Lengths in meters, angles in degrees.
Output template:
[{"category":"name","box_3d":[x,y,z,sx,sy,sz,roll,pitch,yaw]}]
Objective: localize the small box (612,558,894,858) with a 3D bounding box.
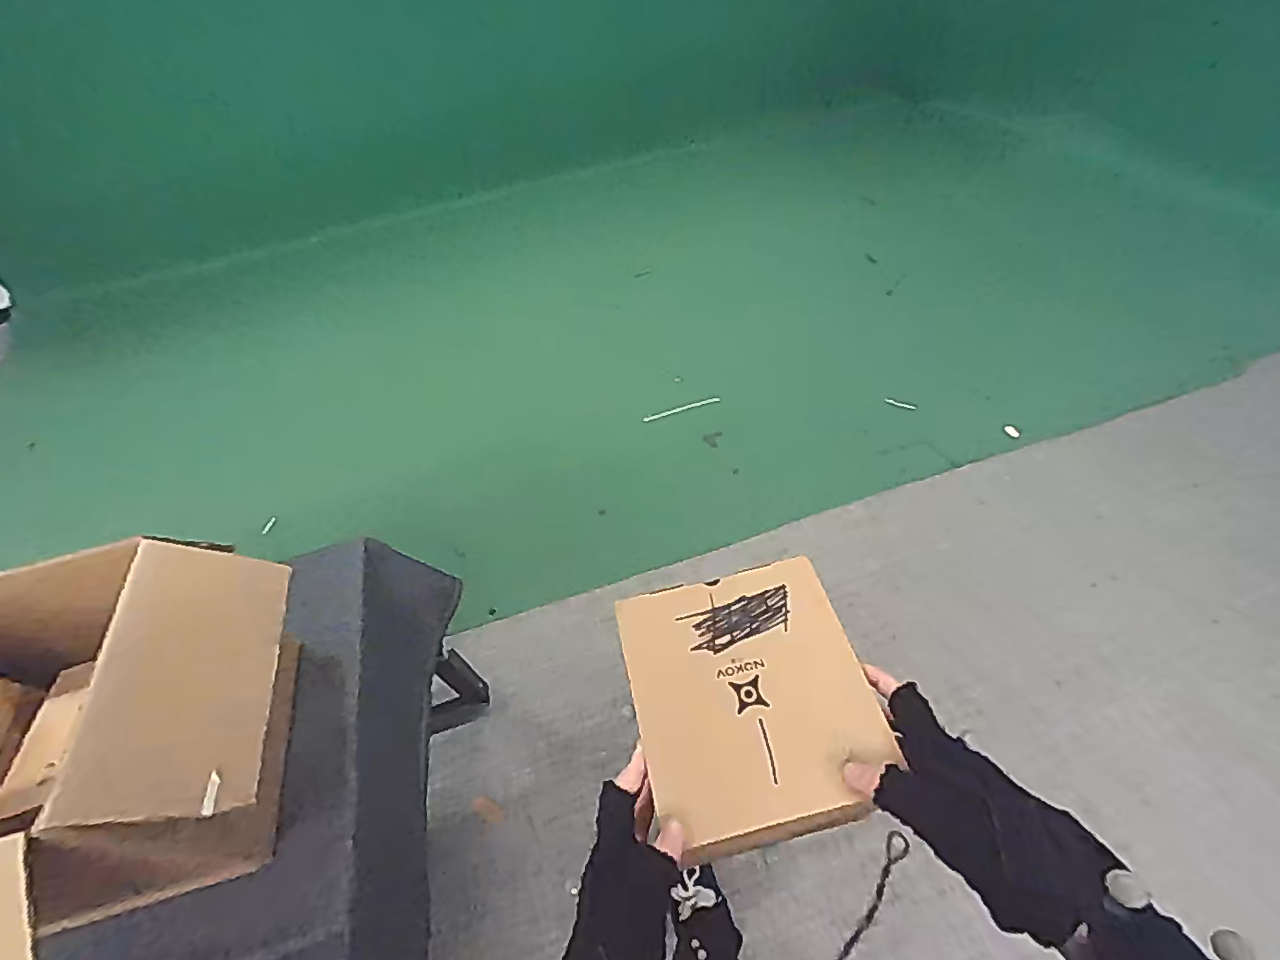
[{"category":"small box","box_3d":[0.076,0.195,0.460,0.168,0.176,0.179,-12,52,-4]}]
